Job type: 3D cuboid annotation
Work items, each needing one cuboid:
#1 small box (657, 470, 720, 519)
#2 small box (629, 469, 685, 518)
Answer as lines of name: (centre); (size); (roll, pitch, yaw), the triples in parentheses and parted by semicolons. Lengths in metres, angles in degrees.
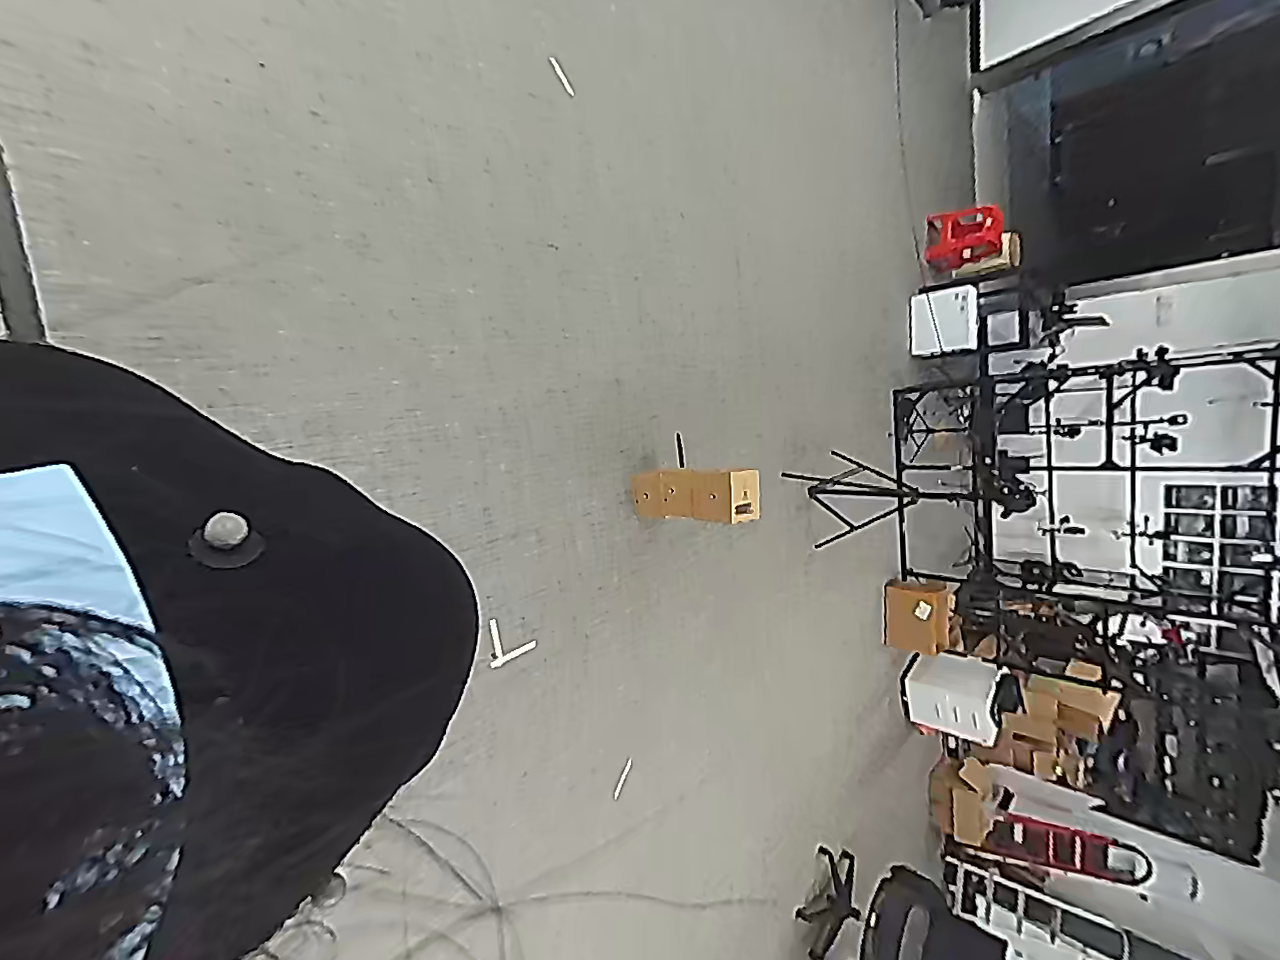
small box: (0.181, 0.049, 2.022); (0.179, 0.176, 0.168); (-7, 96, -44)
small box: (0.070, 0.051, 2.142); (0.179, 0.176, 0.168); (-17, 103, -44)
